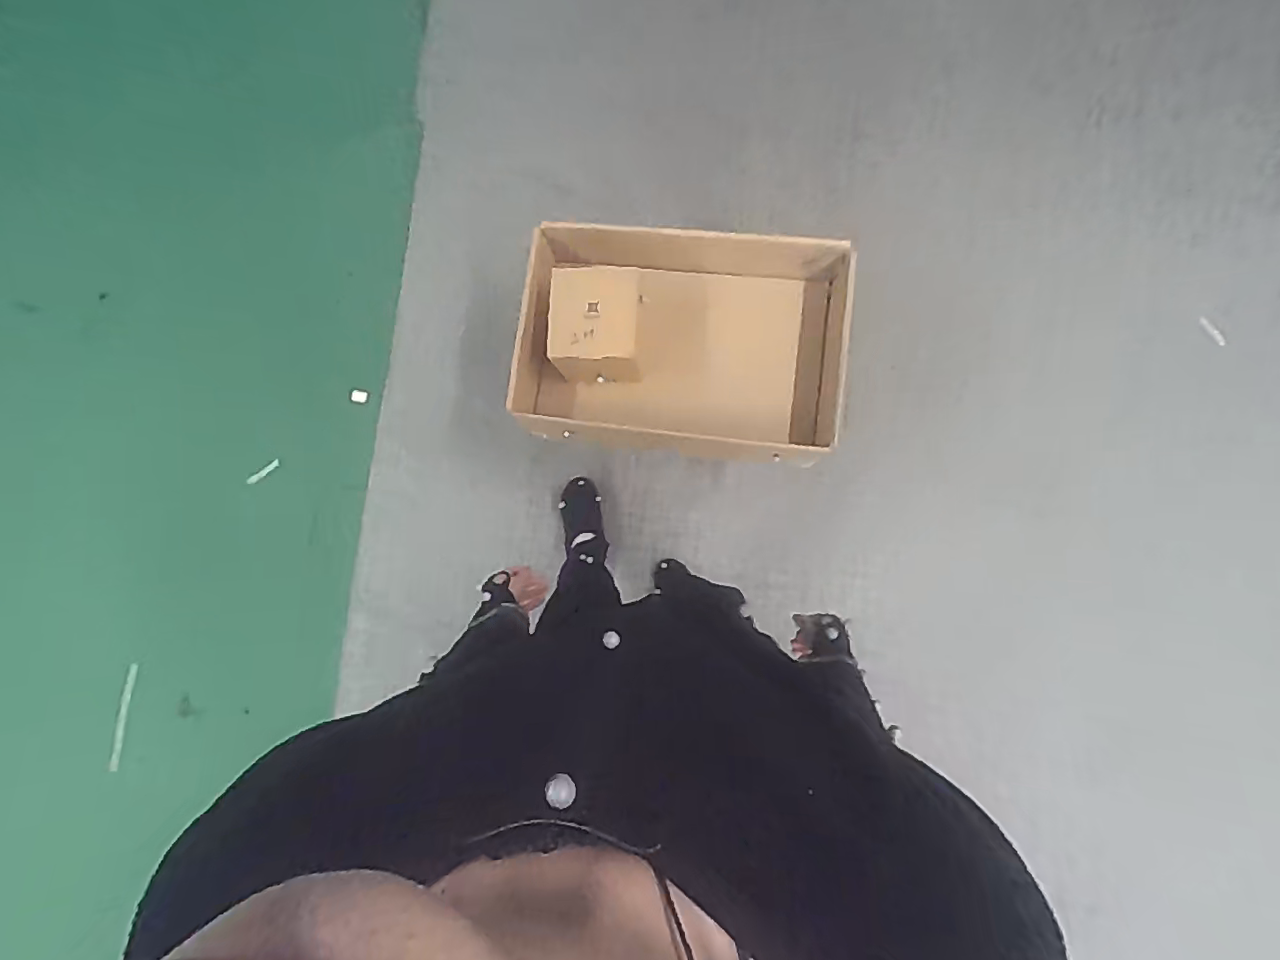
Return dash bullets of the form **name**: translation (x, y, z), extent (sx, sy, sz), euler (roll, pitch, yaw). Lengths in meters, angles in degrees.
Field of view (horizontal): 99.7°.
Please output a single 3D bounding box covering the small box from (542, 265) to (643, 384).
- **small box**: translation (-0.086, -0.301, 1.064), extent (0.168, 0.176, 0.179), euler (2, 84, 6)
